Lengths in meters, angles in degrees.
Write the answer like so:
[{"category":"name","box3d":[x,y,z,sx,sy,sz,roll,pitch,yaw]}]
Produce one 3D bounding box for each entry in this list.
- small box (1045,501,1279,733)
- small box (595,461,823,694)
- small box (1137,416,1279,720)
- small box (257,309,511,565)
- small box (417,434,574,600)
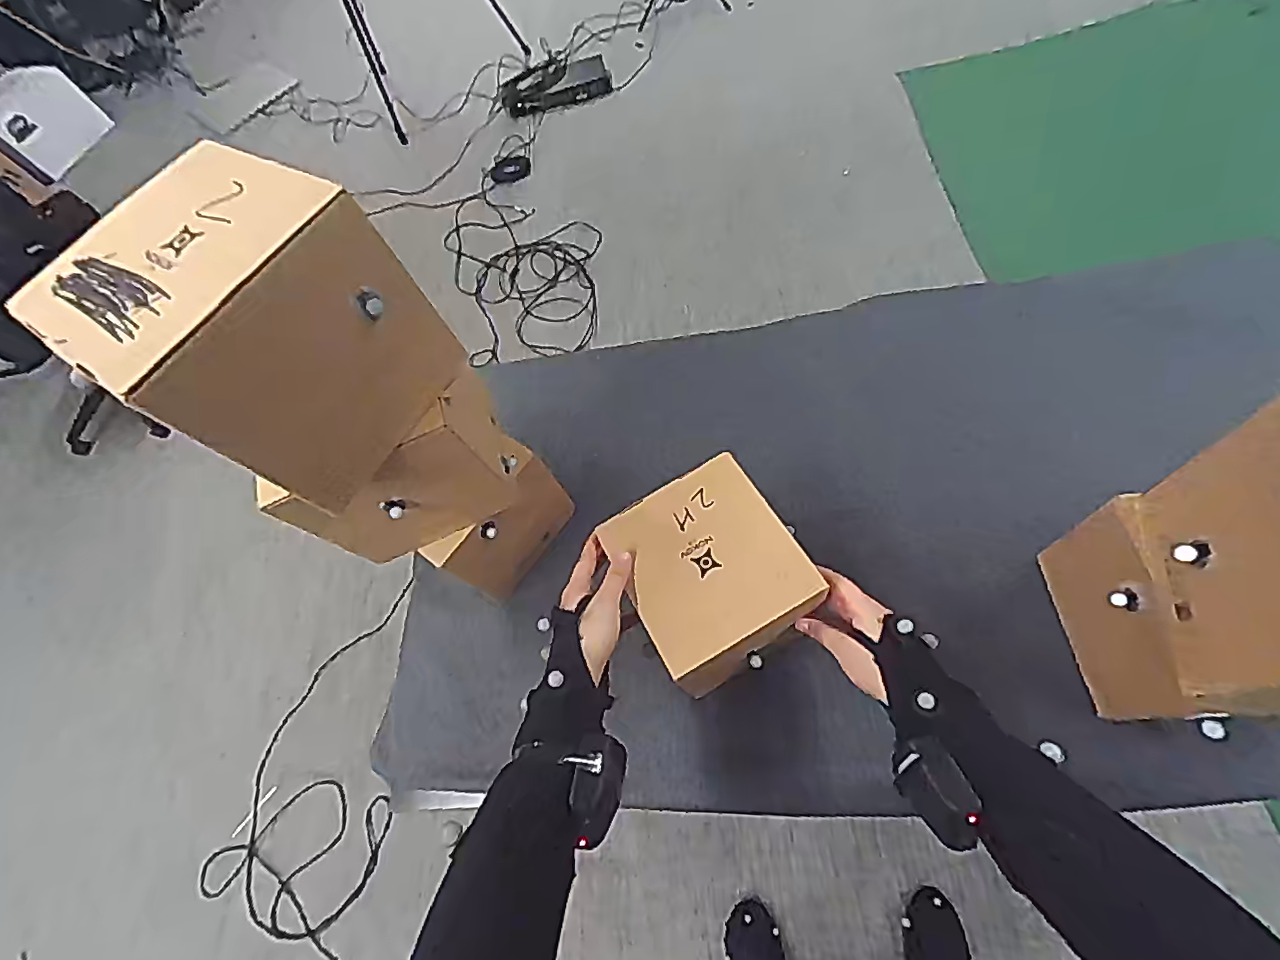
[{"category":"small box","box3d":[0.511,0.125,0.486,0.168,0.176,0.179,-8,62,11]},{"category":"small box","box3d":[0.078,0.118,0.594,0.168,0.176,0.179,-30,60,-3]},{"category":"small box","box3d":[0.477,0.063,0.339,0.179,0.176,0.168,2,63,16]},{"category":"small box","box3d":[-0.251,-0.035,0.563,0.179,0.176,0.168,-25,62,1]},{"category":"small box","box3d":[-0.218,0.034,0.709,0.179,0.176,0.168,31,75,25]}]
